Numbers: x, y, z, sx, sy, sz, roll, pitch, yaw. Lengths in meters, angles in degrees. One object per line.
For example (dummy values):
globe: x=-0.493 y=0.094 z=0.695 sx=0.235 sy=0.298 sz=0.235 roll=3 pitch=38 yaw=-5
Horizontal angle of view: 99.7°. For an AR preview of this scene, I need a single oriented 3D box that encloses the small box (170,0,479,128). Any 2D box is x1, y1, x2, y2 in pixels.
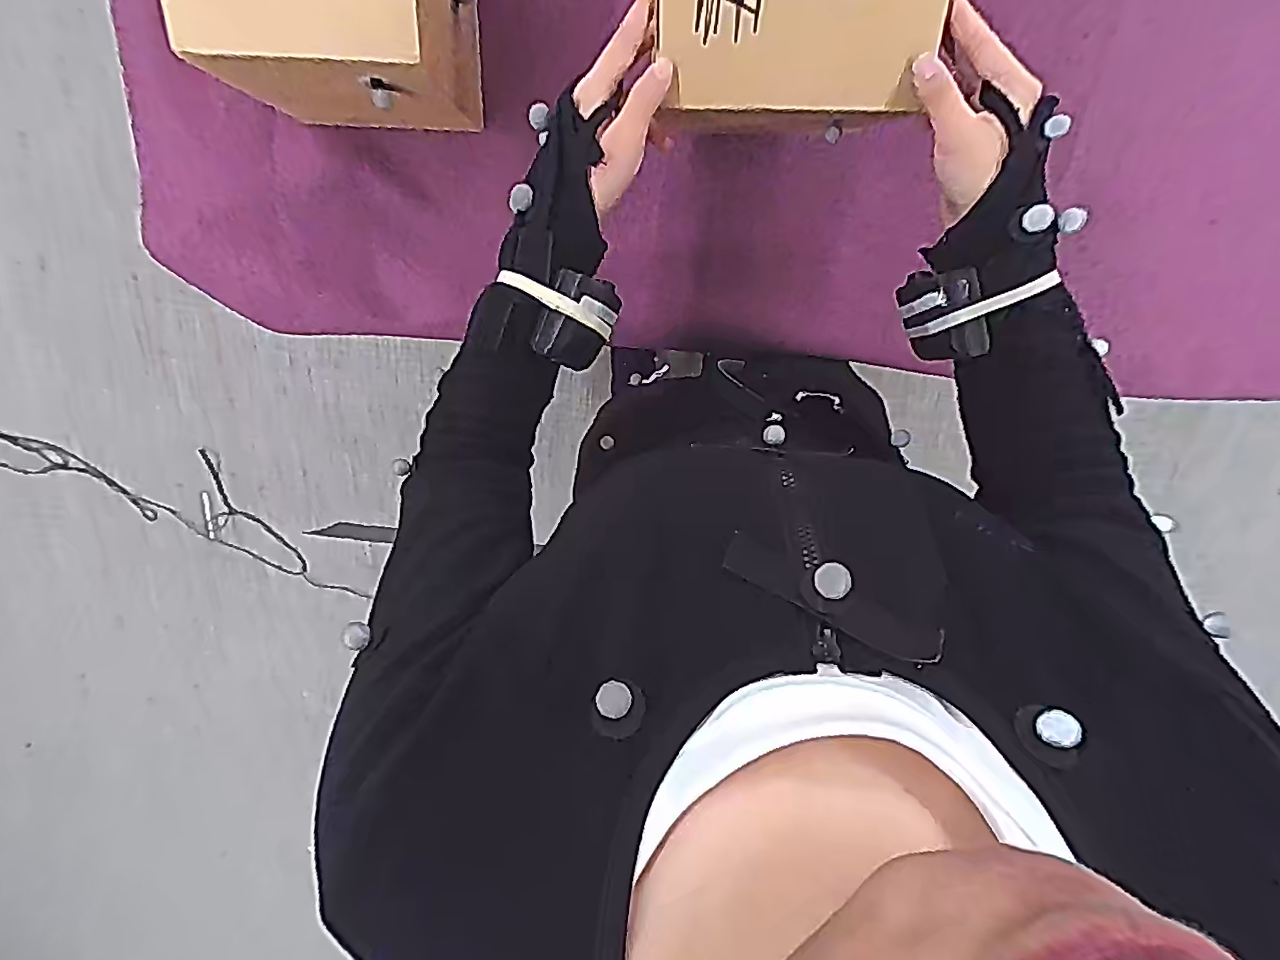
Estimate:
small box: x=-0.233 y=-0.400 z=0.429 sx=0.179 sy=0.176 sz=0.168 roll=2 pitch=108 yaw=-1
